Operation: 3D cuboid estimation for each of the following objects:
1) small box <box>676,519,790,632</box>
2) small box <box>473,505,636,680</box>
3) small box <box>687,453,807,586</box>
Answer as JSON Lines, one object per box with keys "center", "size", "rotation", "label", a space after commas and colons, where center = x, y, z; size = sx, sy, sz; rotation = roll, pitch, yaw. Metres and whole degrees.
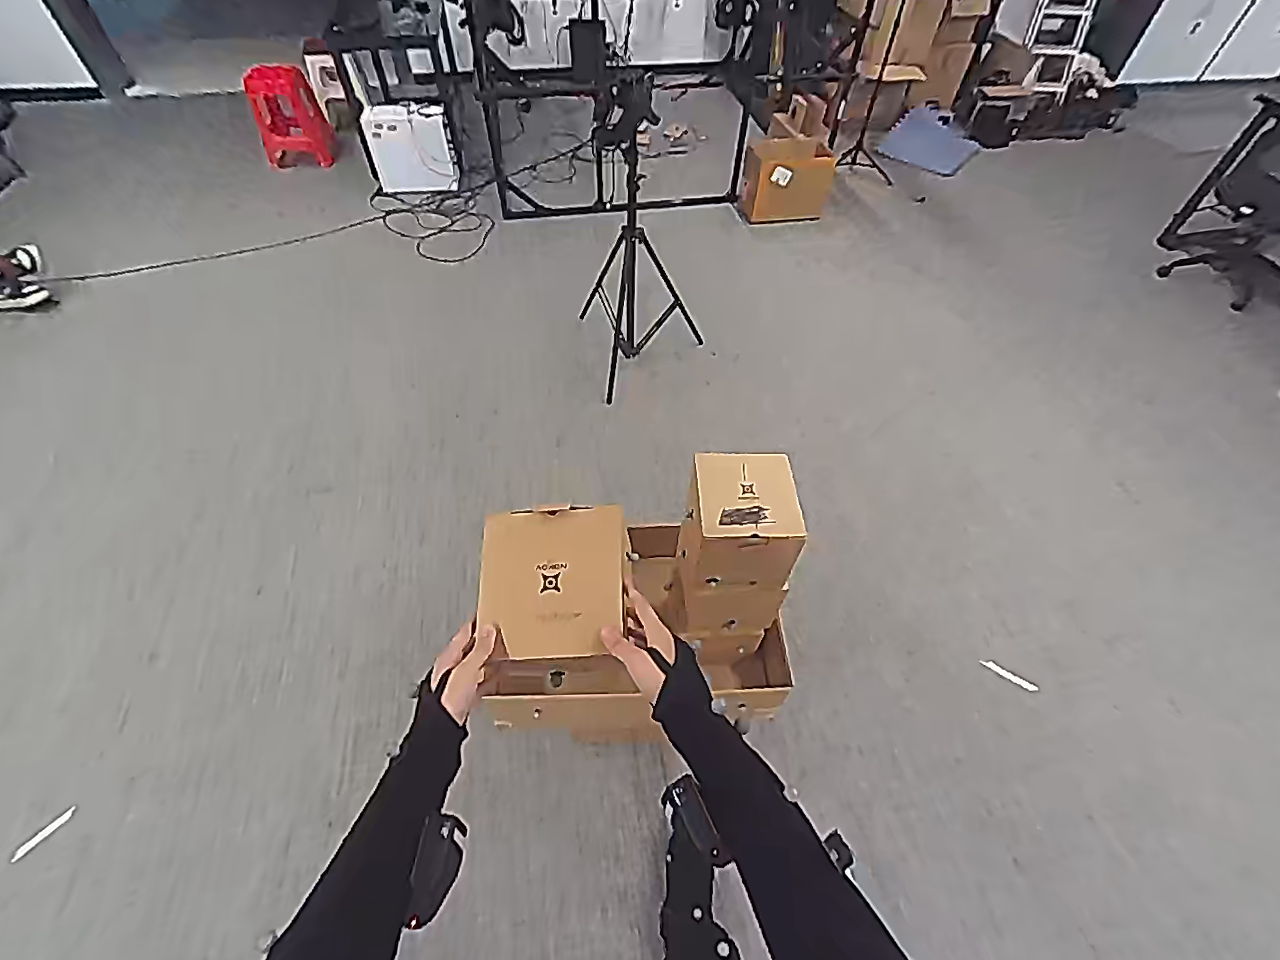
{"center": [0.172, 0.187, 1.060], "size": [0.179, 0.176, 0.168], "rotation": [-2, 51, -5], "label": "small box"}
{"center": [-0.094, 0.146, 0.678], "size": [0.168, 0.176, 0.179], "rotation": [-4, 64, 3], "label": "small box"}
{"center": [0.175, 0.073, 0.940], "size": [0.168, 0.176, 0.179], "rotation": [0, 51, -2], "label": "small box"}
